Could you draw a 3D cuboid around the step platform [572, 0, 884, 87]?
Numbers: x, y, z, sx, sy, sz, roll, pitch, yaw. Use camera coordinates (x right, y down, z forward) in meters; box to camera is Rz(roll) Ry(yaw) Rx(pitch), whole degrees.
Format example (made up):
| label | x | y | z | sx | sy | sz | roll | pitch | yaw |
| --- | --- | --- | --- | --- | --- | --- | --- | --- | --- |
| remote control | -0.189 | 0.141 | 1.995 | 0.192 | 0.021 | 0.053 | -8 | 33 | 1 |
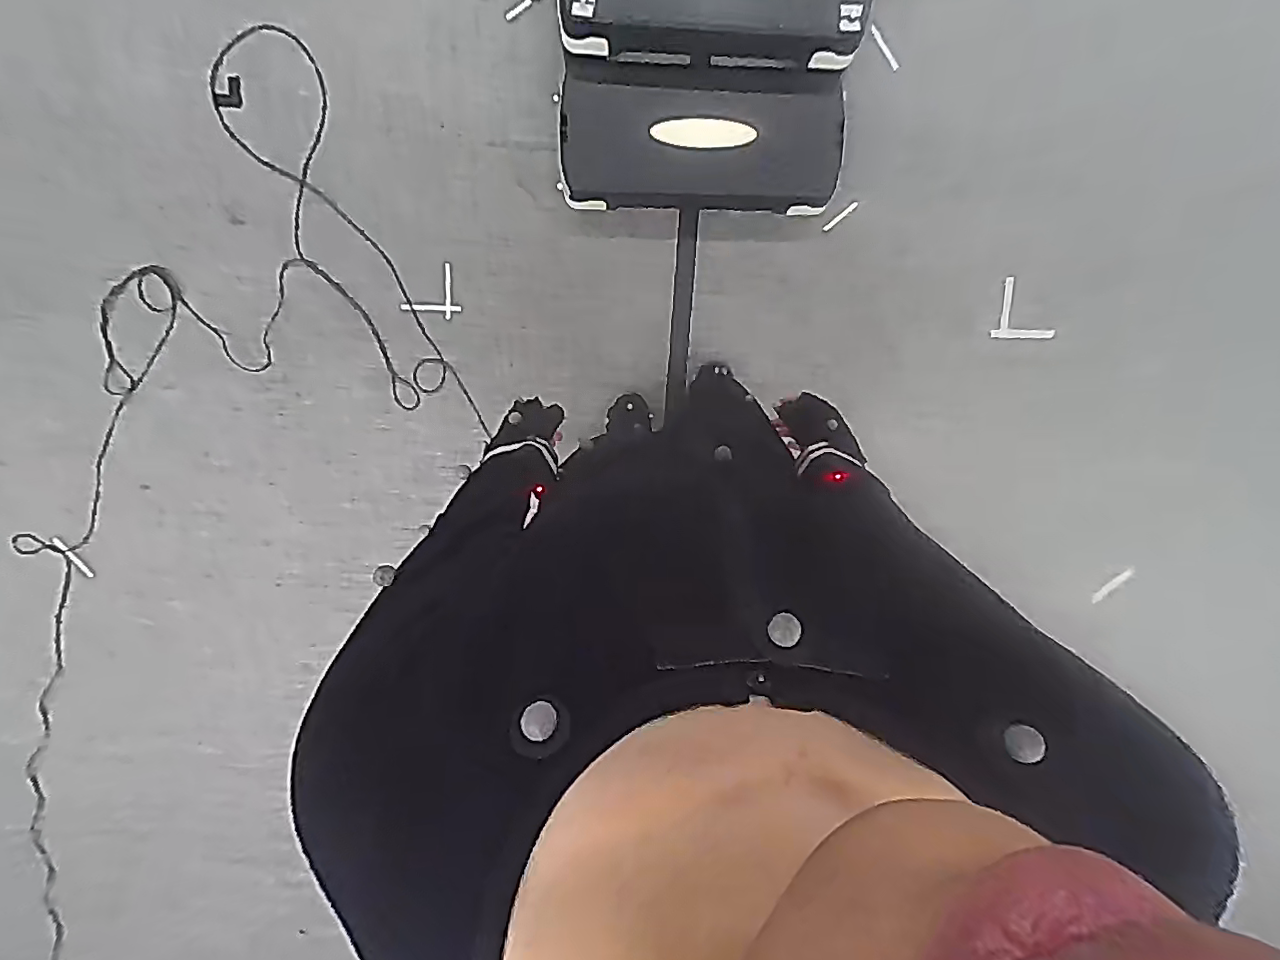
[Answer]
| label | x | y | z | sx | sy | sz | roll | pitch | yaw |
| --- | --- | --- | --- | --- | --- | --- | --- | --- | --- |
| step platform | 0.190 | -1.095 | 1.205 | 0.684 | 0.204 | 0.286 | 1 | 100 | -3 |
